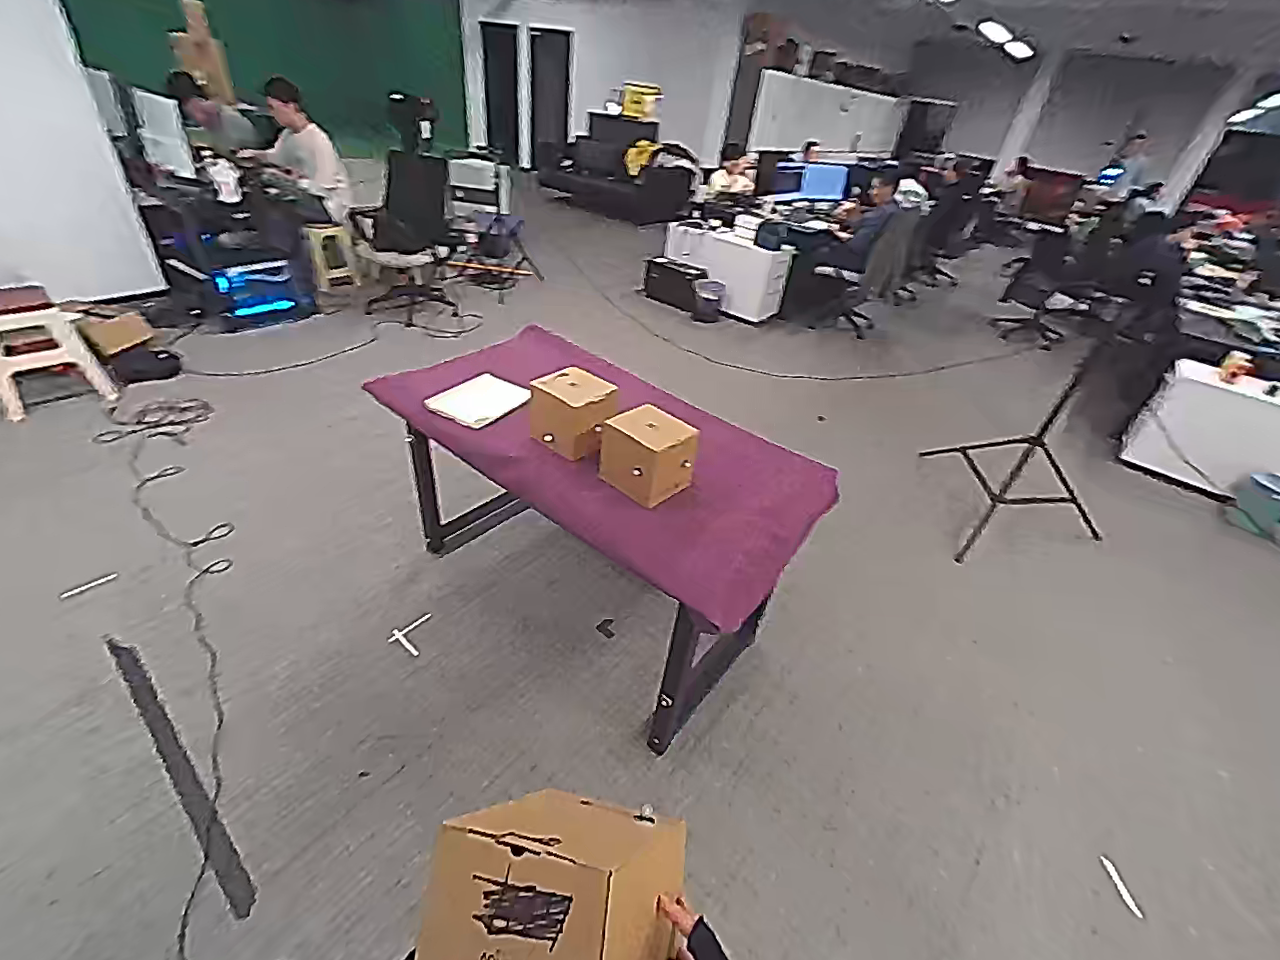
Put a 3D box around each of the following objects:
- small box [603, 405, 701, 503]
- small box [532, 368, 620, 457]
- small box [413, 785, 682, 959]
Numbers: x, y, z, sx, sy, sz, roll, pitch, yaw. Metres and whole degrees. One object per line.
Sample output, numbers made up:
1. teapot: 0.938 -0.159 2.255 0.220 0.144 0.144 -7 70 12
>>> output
1. small box: 0.026 -0.062 1.354 0.179 0.176 0.168 31 40 31
2. small box: -0.177 -0.181 1.479 0.179 0.176 0.168 31 41 27
3. small box: -0.068 0.380 0.463 0.168 0.176 0.179 -3 71 24
